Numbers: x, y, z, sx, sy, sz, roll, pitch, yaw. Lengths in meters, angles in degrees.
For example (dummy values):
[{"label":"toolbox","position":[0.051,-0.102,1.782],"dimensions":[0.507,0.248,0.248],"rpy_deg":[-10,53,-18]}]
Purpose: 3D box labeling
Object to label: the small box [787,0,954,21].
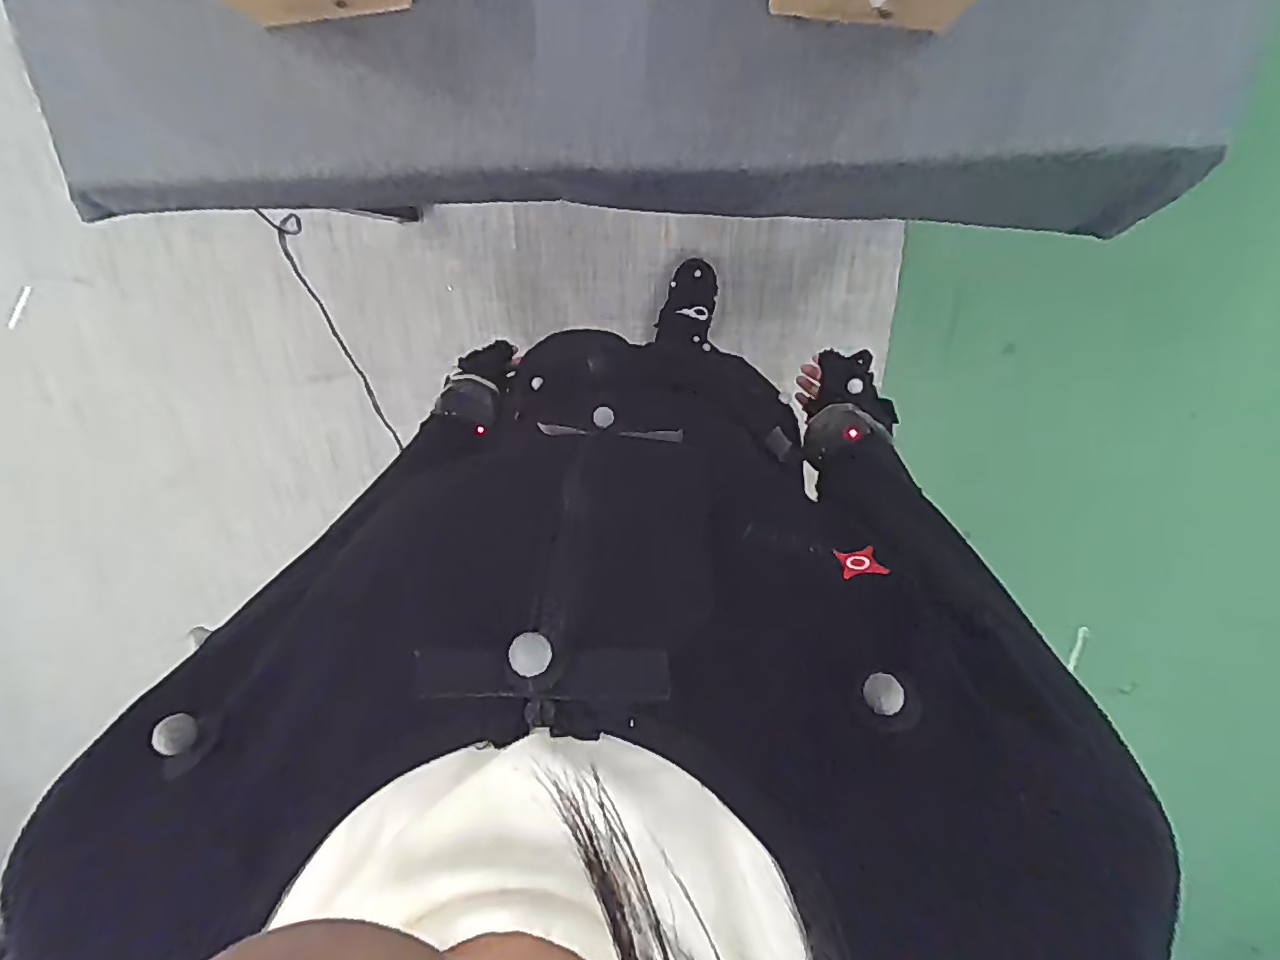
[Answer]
[{"label":"small box","position":[0.202,-0.486,0.407],"dimensions":[0.168,0.176,0.179],"rpy_deg":[7,112,2]}]
